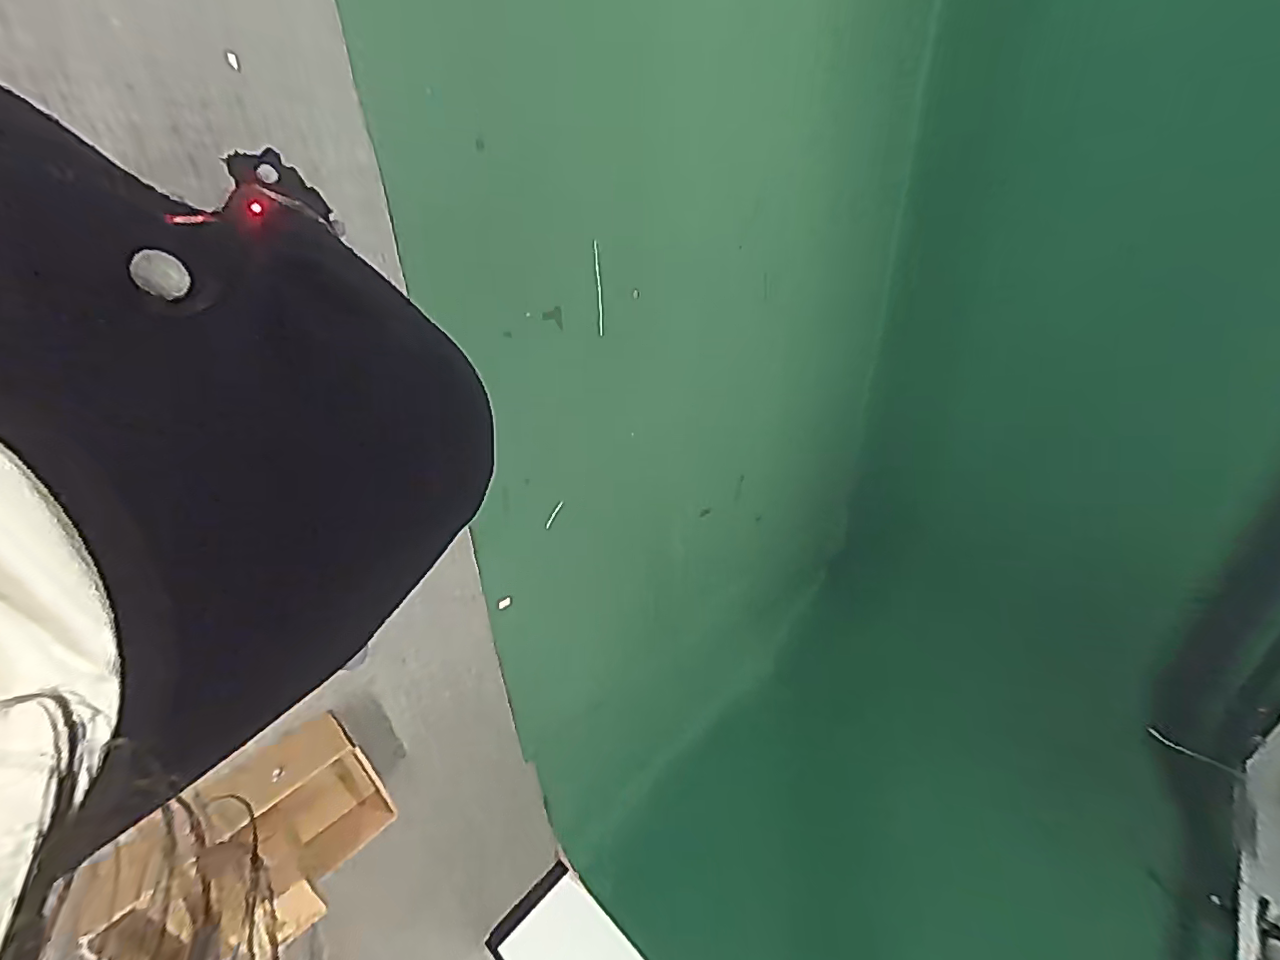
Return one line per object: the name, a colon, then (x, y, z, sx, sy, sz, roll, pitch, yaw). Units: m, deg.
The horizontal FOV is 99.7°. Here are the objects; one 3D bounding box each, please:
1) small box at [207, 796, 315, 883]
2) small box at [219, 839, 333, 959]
small box: (-1.023, 0.998, 1.457, 0.168, 0.176, 0.179, -32, 132, -36)
small box: (-0.910, 1.046, 1.349, 0.168, 0.176, 0.179, -30, 129, -37)
